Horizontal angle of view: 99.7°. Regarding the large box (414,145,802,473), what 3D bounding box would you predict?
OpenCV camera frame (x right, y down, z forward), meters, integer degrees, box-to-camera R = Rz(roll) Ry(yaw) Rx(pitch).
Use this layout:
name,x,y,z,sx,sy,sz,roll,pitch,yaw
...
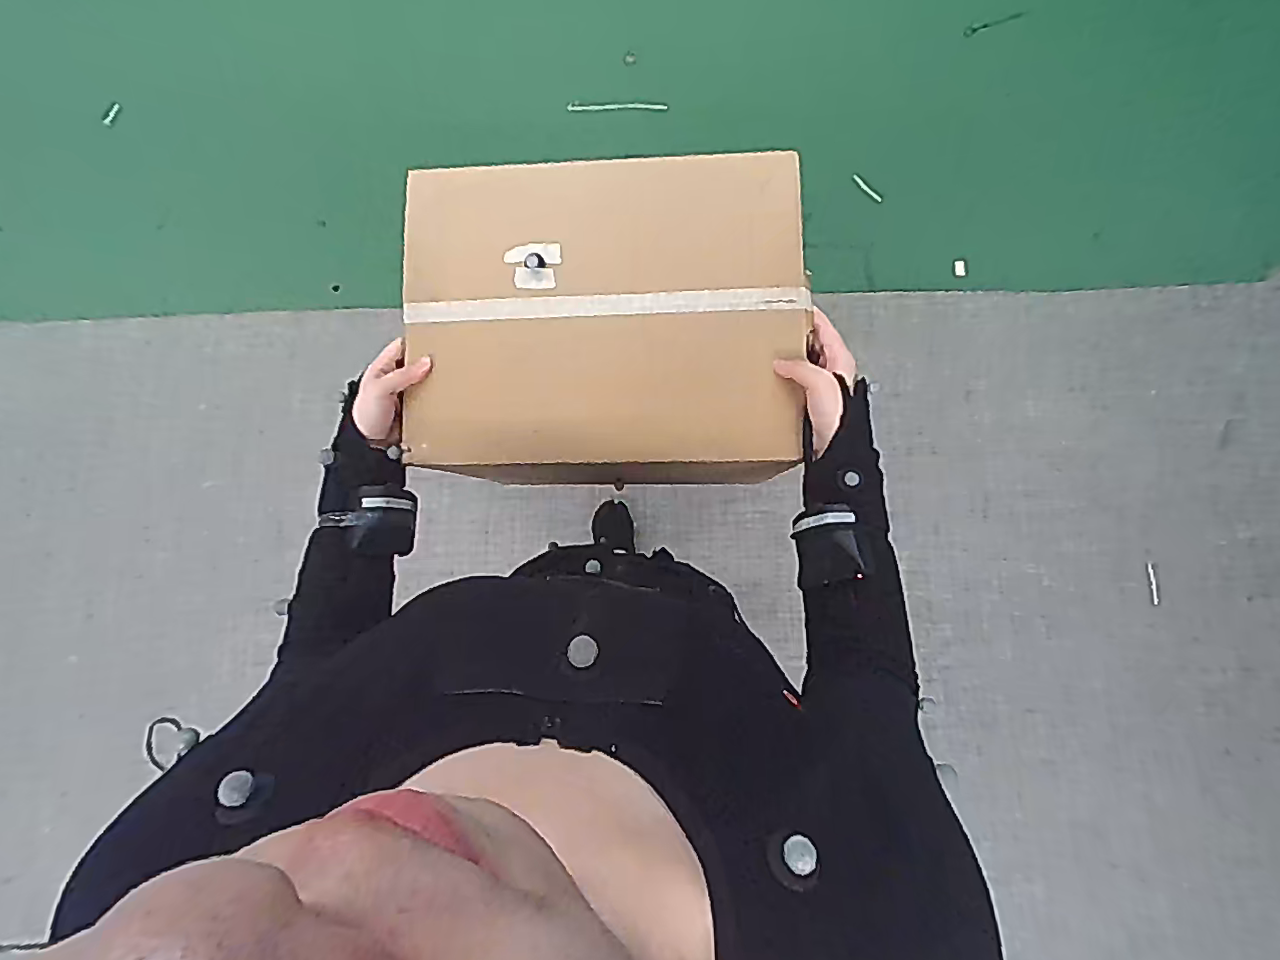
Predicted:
name,x,y,z,sx,sy,sz,roll,pitch,yaw
large box,-0.025,-0.173,0.703,0.408,0.320,0.320,-1,86,6
